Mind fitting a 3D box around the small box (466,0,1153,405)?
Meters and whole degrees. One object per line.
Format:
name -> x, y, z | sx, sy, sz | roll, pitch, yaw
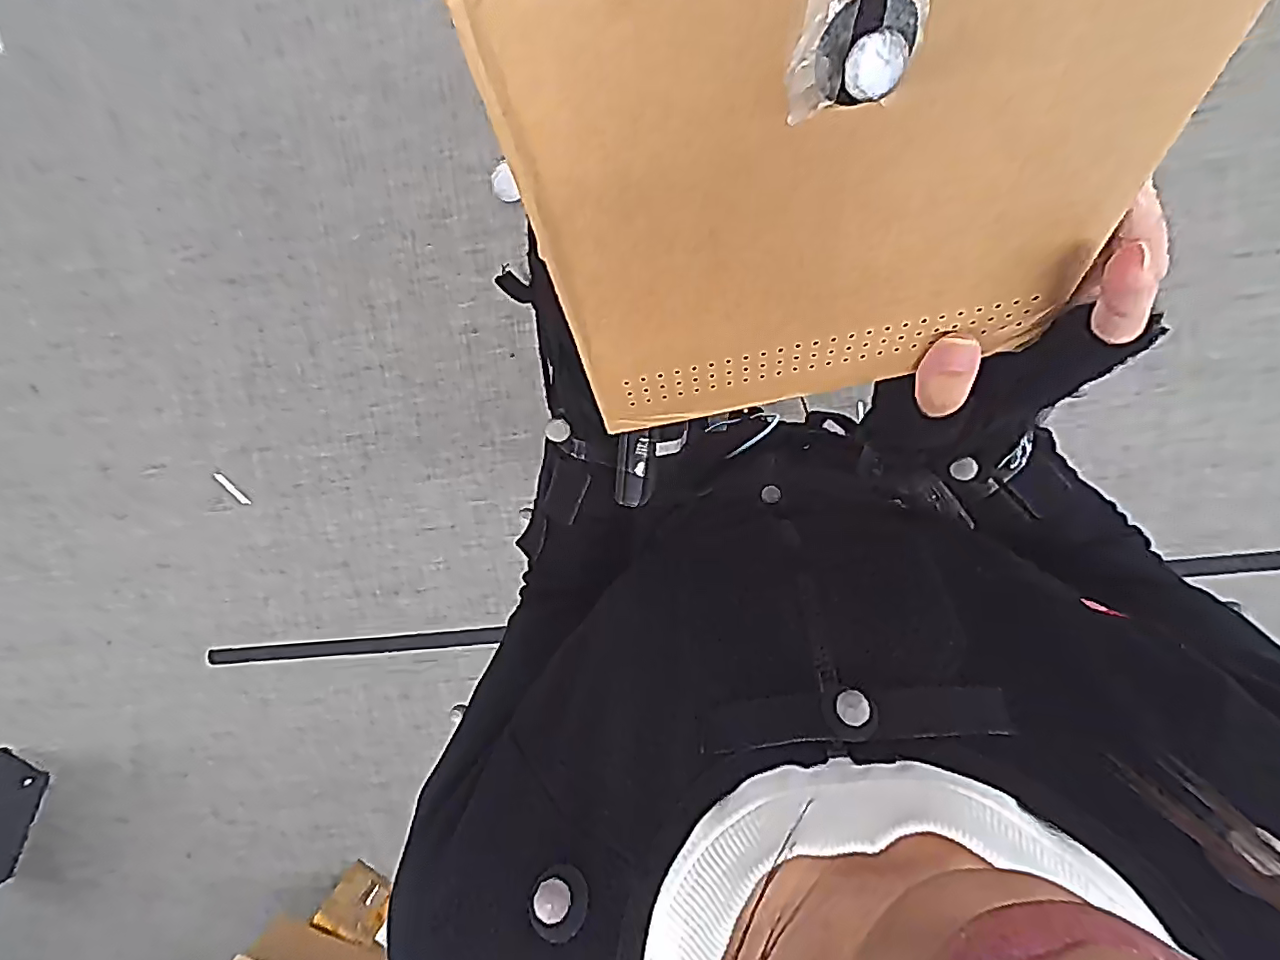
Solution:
small box -> 0.050, -0.150, 0.212 | 0.179, 0.176, 0.168 | -11, 60, 5
